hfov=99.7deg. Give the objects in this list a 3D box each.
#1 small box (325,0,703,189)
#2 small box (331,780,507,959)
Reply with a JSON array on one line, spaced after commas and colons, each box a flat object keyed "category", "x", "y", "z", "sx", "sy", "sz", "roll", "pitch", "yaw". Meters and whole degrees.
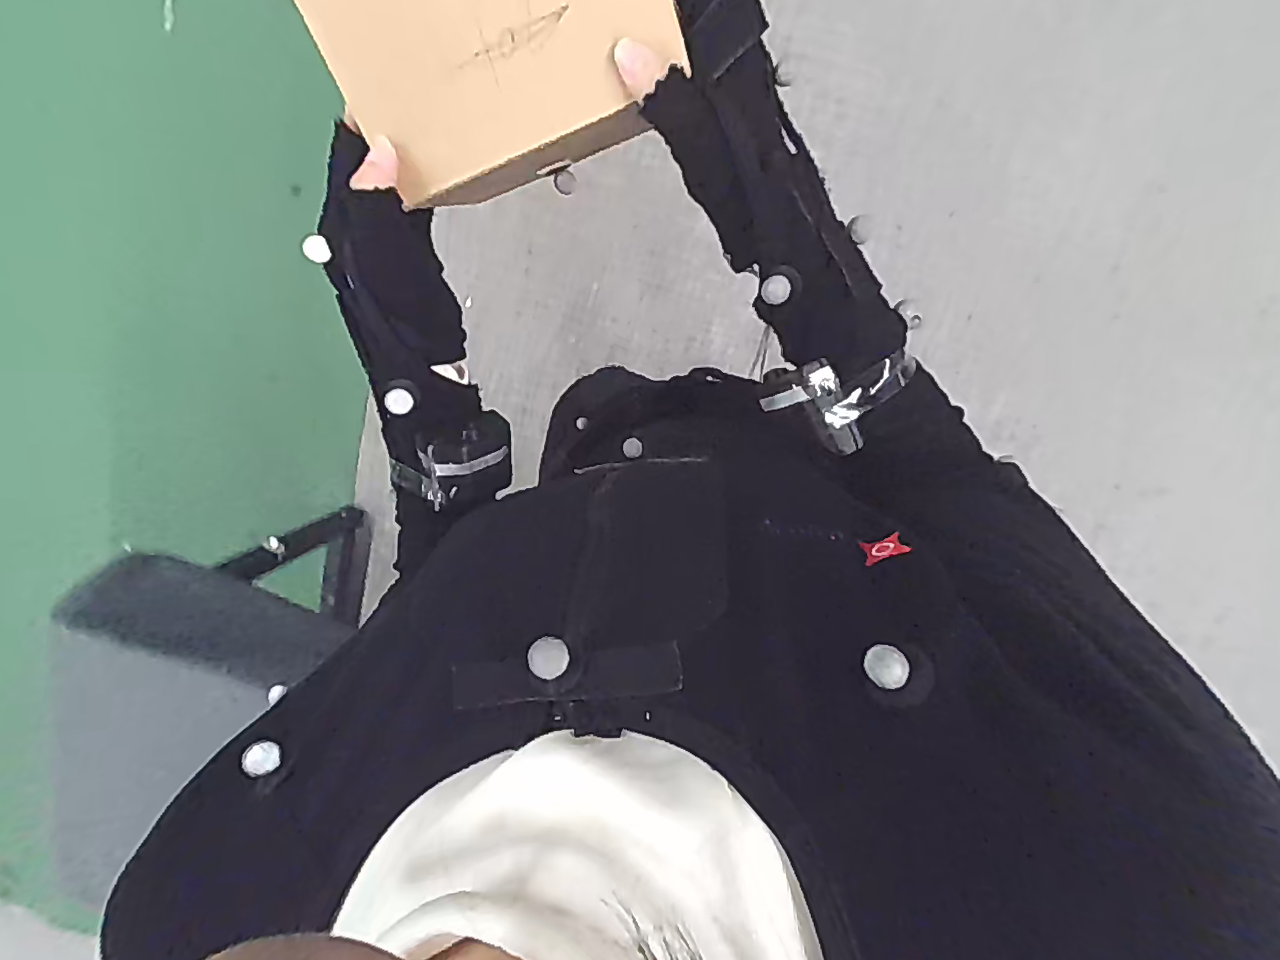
[{"category": "small box", "x": -0.071, "y": -0.287, "z": 0.311, "sx": 0.168, "sy": 0.176, "sz": 0.179, "roll": -16, "pitch": 116, "yaw": 10}, {"category": "small box", "x": -0.322, "y": 0.597, "z": 0.817, "sx": 0.179, "sy": 0.176, "sz": 0.168, "roll": 19, "pitch": 105, "yaw": 4}]
